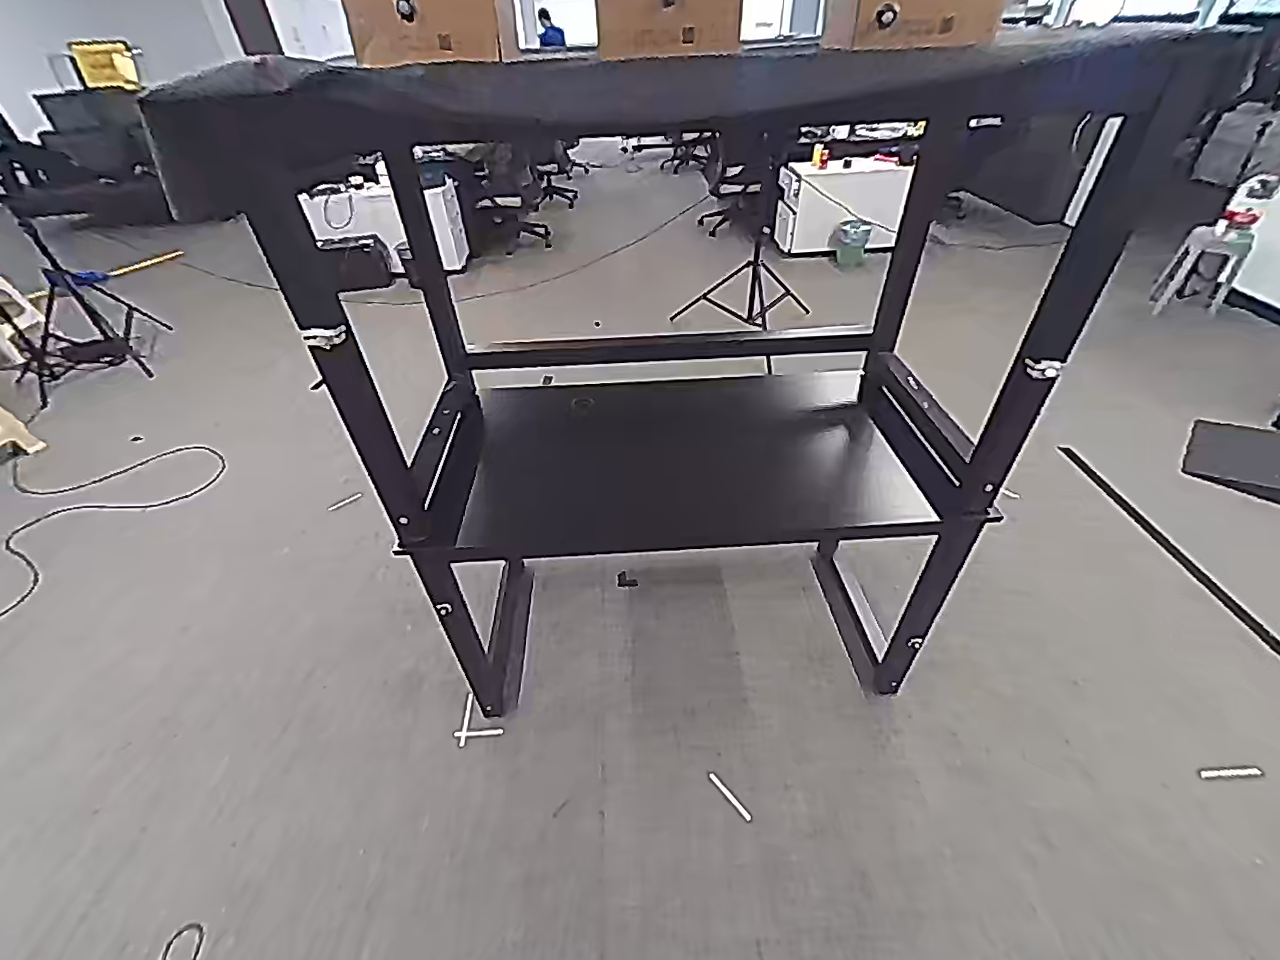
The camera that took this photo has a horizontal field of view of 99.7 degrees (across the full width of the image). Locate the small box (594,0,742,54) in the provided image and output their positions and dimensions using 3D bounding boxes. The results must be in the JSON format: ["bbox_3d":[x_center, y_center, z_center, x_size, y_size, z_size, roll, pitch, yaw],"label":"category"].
[{"bbox_3d":[0.029,-0.609,0.634,0.168,0.176,0.179,-3,38,1],"label":"small box"}]

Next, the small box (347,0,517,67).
[{"bbox_3d":[-0.244,-0.592,0.630,0.168,0.176,0.179,-2,39,-2],"label":"small box"}]

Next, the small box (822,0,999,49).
[{"bbox_3d":[0.327,-0.627,0.642,0.168,0.176,0.179,0,39,3],"label":"small box"}]
